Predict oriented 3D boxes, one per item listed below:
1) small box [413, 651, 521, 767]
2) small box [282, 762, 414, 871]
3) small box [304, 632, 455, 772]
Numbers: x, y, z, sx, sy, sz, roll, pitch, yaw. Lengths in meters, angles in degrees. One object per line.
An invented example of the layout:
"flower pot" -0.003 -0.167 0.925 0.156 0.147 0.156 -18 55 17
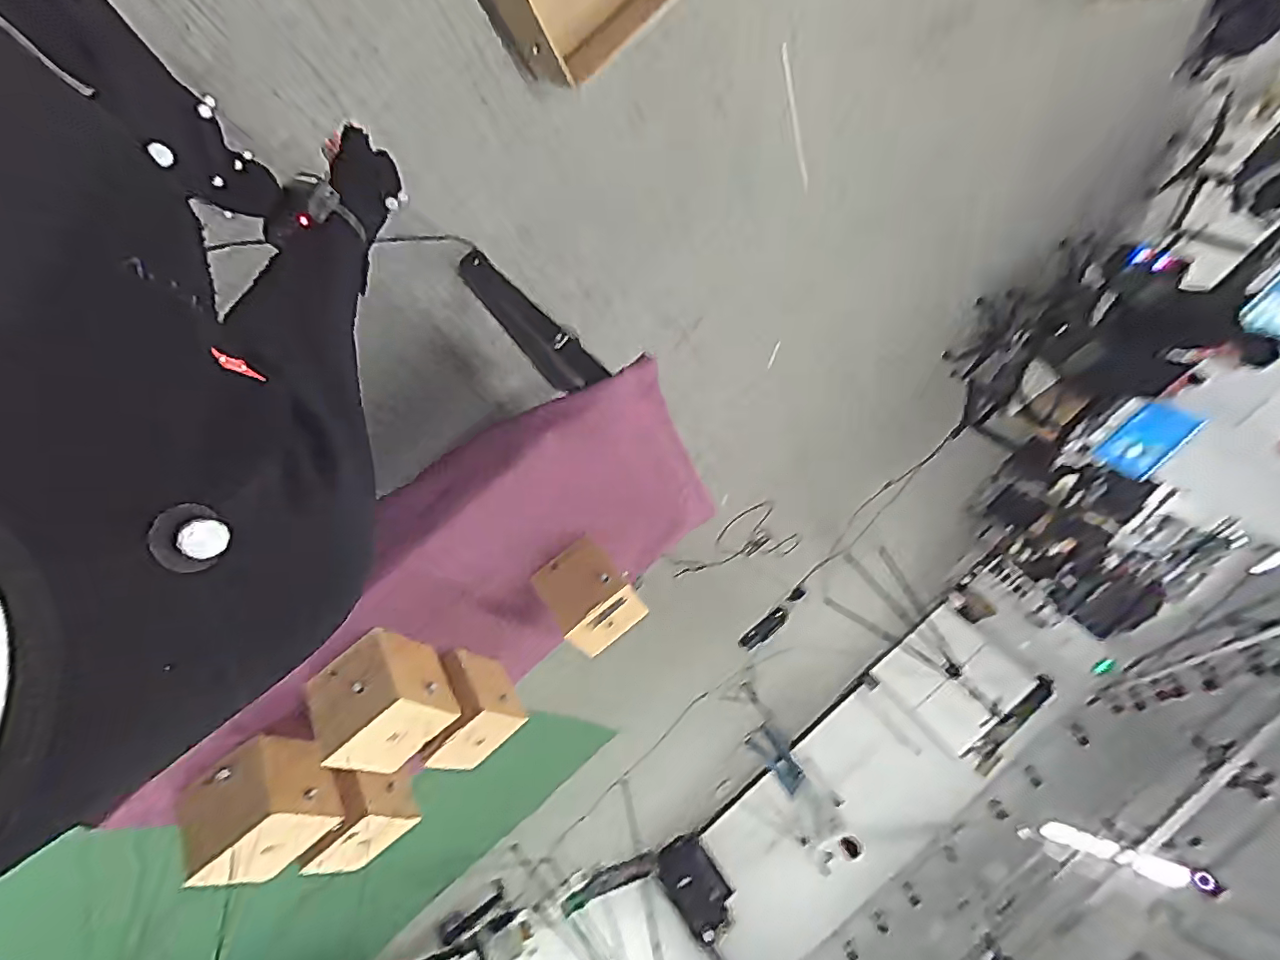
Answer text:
"small box" -0.402 0.508 1.205 0.168 0.176 0.179 -41 144 -4
"small box" -0.638 0.713 1.186 0.168 0.176 0.179 -39 145 -8
"small box" -0.494 0.415 1.023 0.168 0.176 0.179 -40 144 -6
